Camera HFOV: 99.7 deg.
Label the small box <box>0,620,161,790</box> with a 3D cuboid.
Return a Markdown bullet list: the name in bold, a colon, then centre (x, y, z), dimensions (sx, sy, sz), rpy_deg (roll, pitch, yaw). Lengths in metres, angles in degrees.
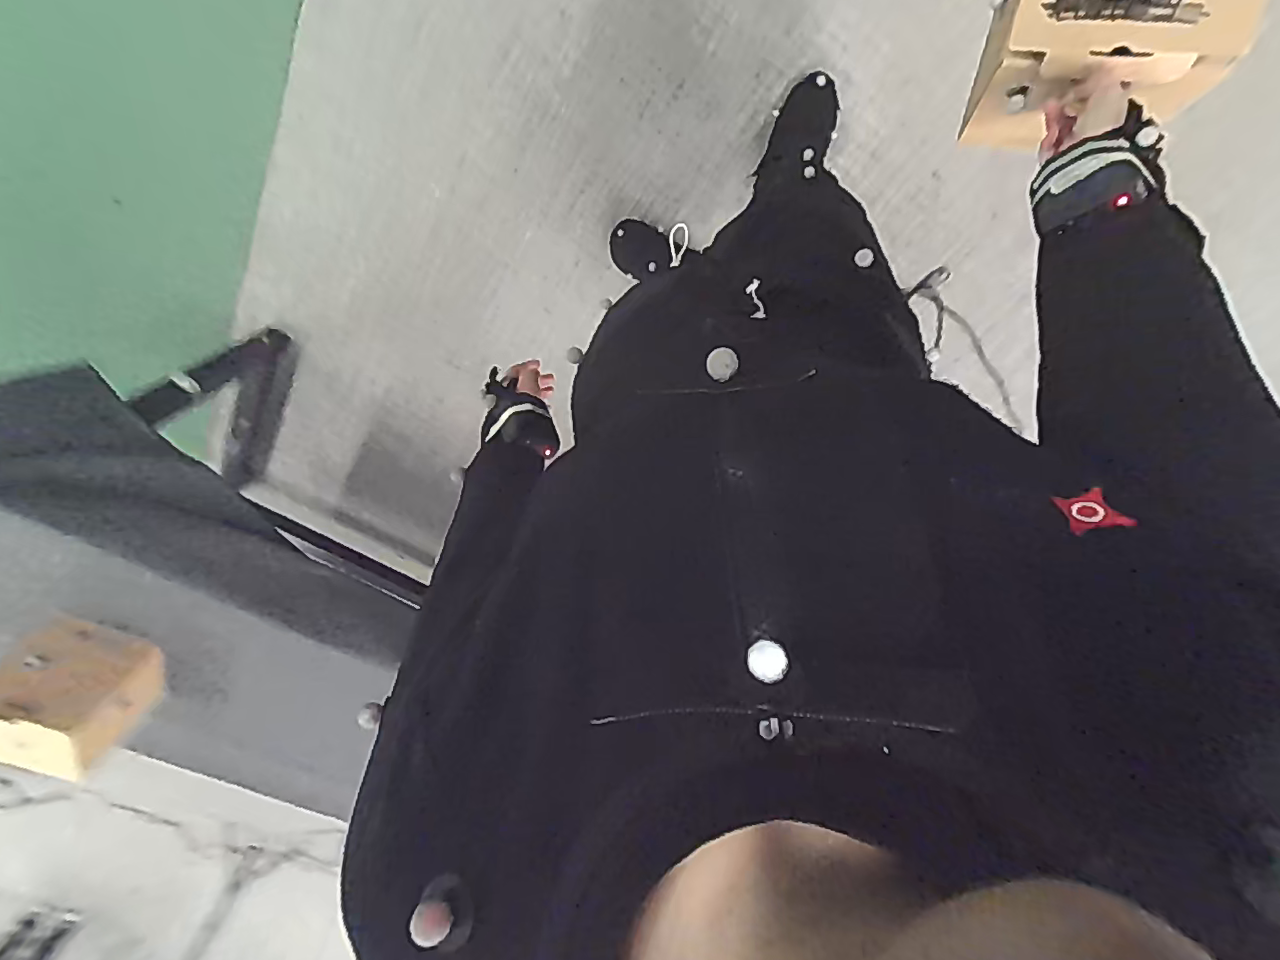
- **small box**: centre (-0.925, 0.357, 0.871), dimensions (0.168, 0.176, 0.179), rpy_deg (25, 124, -10)
